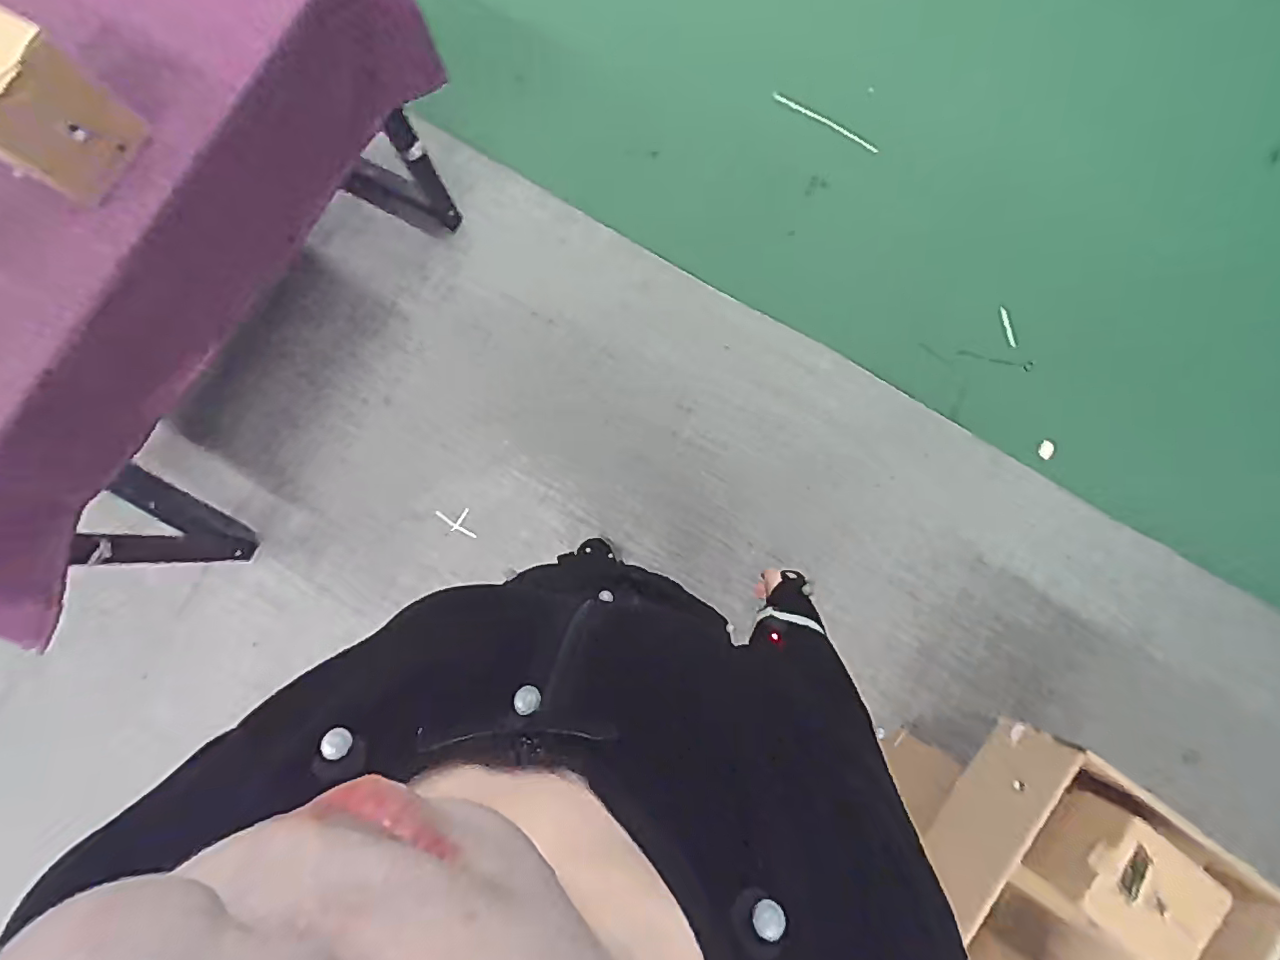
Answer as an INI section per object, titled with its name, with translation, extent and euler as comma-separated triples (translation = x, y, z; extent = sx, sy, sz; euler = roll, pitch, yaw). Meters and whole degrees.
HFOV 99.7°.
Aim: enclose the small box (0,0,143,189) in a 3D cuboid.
[small box]
translation = -0.901, -0.565, 0.786
extent = 0.179, 0.176, 0.168
euler = 29, 83, 3
